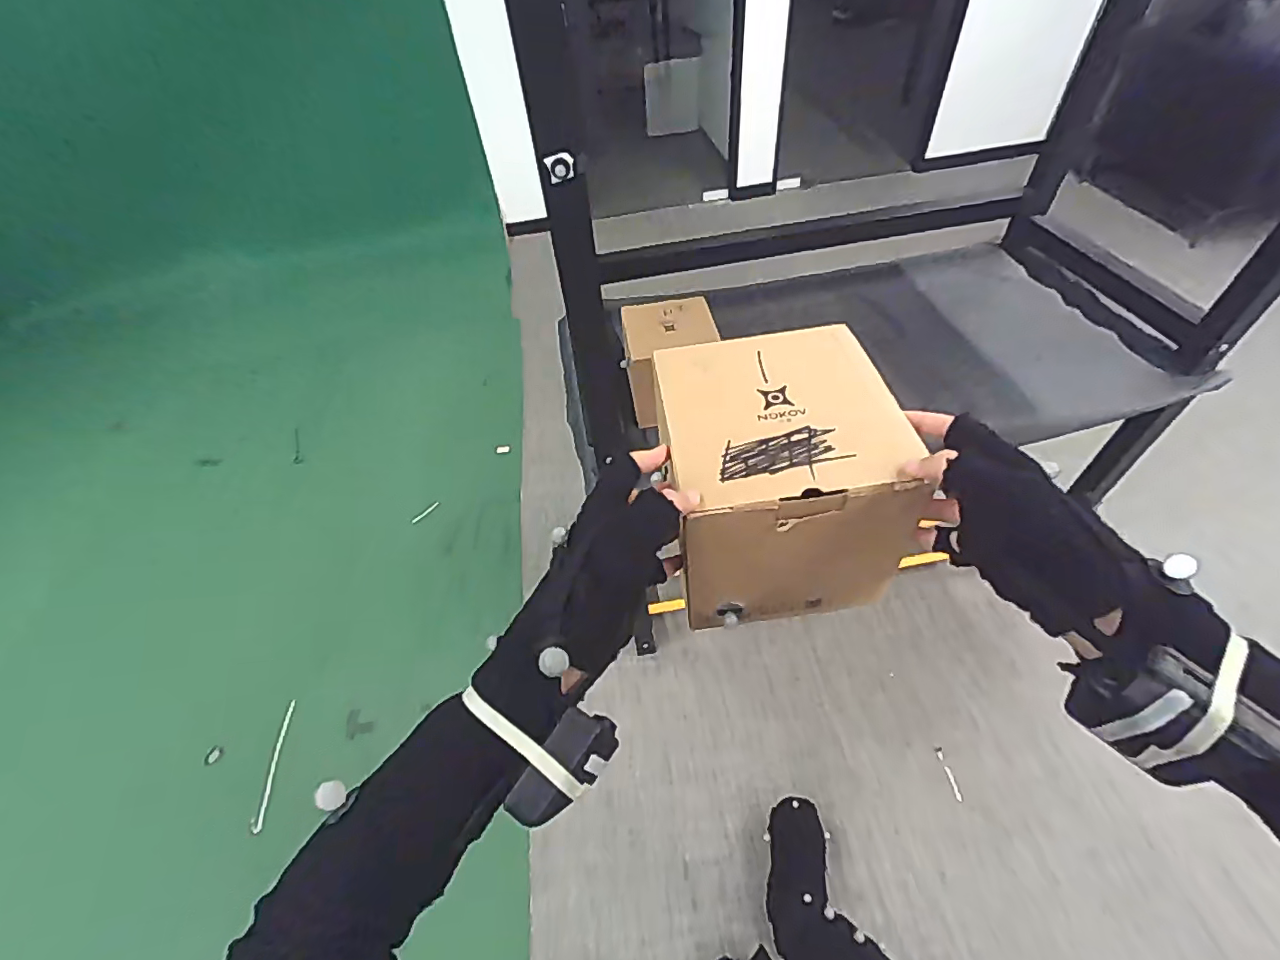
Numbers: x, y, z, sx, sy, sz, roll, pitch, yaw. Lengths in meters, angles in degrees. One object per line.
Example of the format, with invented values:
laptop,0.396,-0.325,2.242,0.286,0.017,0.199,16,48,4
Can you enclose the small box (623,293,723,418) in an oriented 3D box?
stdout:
small box,0.062,-0.234,1.047,0.168,0.176,0.179,-8,49,-2
